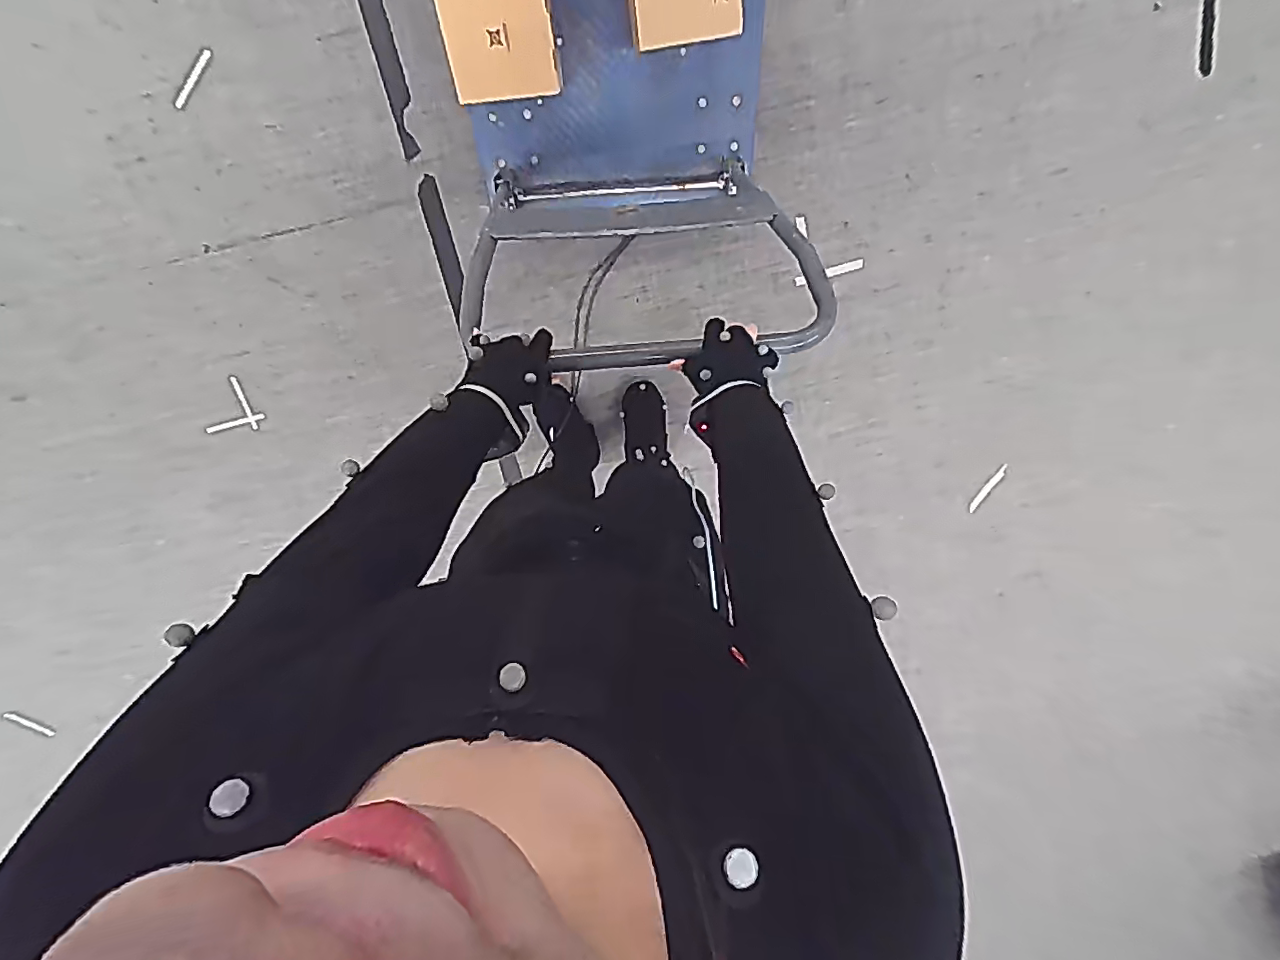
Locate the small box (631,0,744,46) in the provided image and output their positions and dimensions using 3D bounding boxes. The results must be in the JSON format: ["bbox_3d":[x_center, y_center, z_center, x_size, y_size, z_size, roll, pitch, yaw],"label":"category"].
[{"bbox_3d":[0.070,-0.839,0.901,0.179,0.176,0.168,-8,130,2],"label":"small box"}]

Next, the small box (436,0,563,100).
[{"bbox_3d":[-0.234,-0.768,0.932,0.179,0.176,0.168,-8,129,-1],"label":"small box"}]
